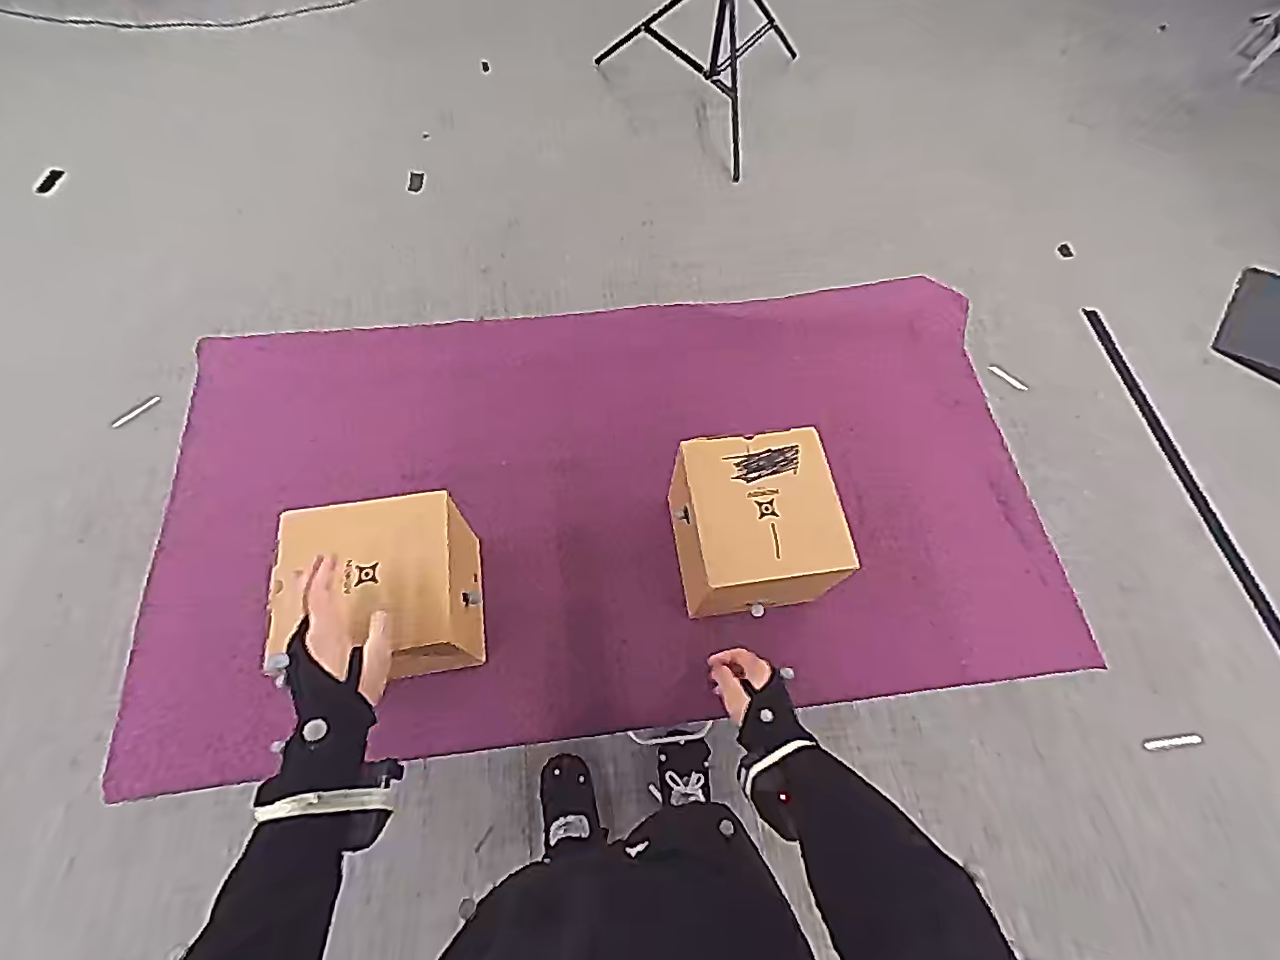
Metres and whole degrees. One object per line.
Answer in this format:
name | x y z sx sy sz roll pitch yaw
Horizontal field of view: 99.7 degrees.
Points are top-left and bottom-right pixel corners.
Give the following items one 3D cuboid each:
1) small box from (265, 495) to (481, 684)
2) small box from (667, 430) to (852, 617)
small box | -0.287 0.132 0.624 0.179 0.176 0.168 -8 66 -6
small box | 0.132 0.059 0.675 0.168 0.176 0.179 -7 66 -5
